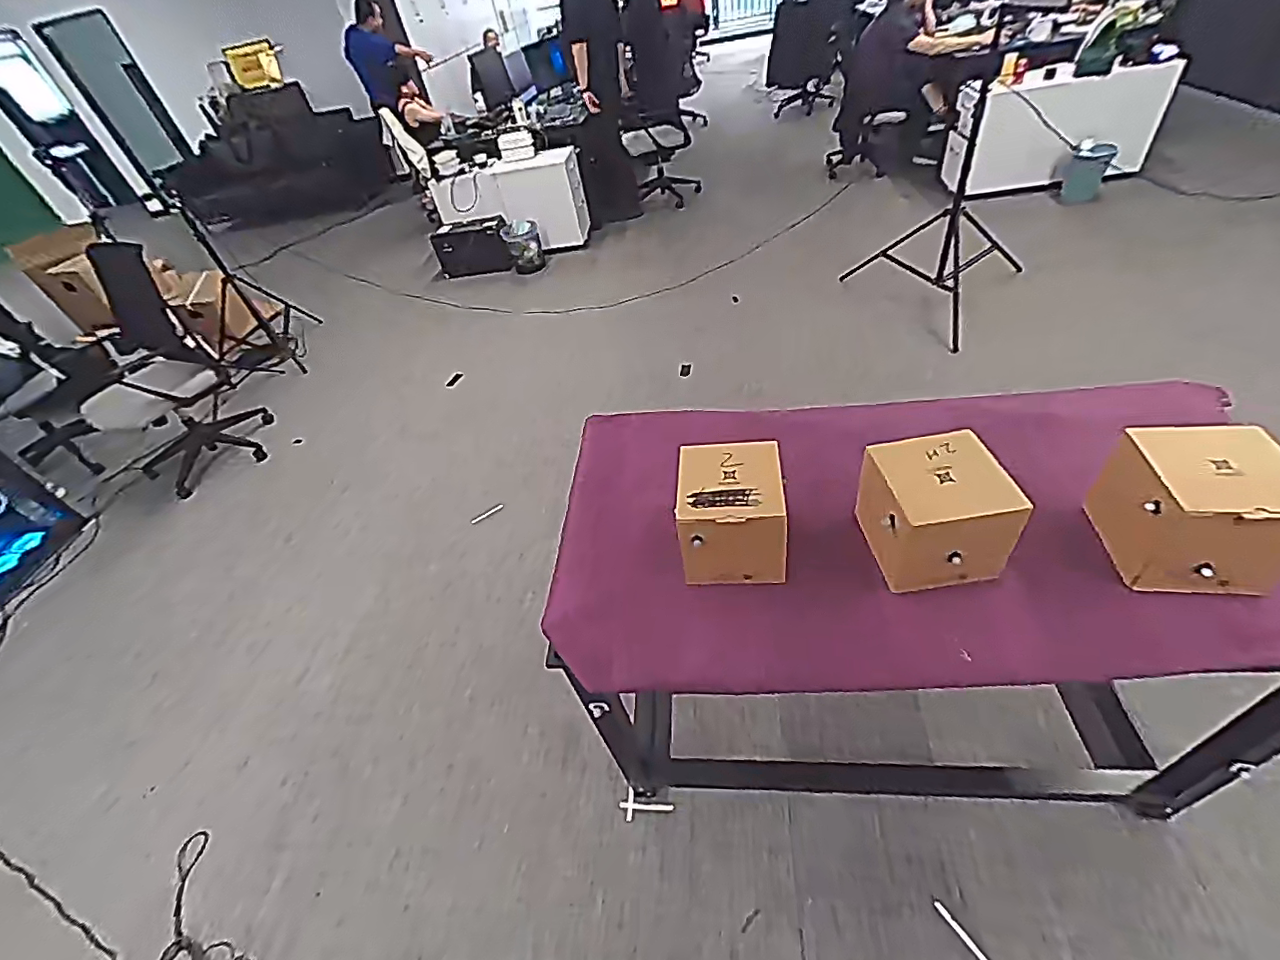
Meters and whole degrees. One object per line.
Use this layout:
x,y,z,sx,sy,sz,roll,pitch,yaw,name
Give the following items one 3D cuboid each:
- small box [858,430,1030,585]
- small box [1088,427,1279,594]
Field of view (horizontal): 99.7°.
0.460,0.049,0.852,0.168,0.176,0.179,-9,43,4,small box
0.798,0.041,0.780,0.168,0.176,0.179,0,43,14,small box
